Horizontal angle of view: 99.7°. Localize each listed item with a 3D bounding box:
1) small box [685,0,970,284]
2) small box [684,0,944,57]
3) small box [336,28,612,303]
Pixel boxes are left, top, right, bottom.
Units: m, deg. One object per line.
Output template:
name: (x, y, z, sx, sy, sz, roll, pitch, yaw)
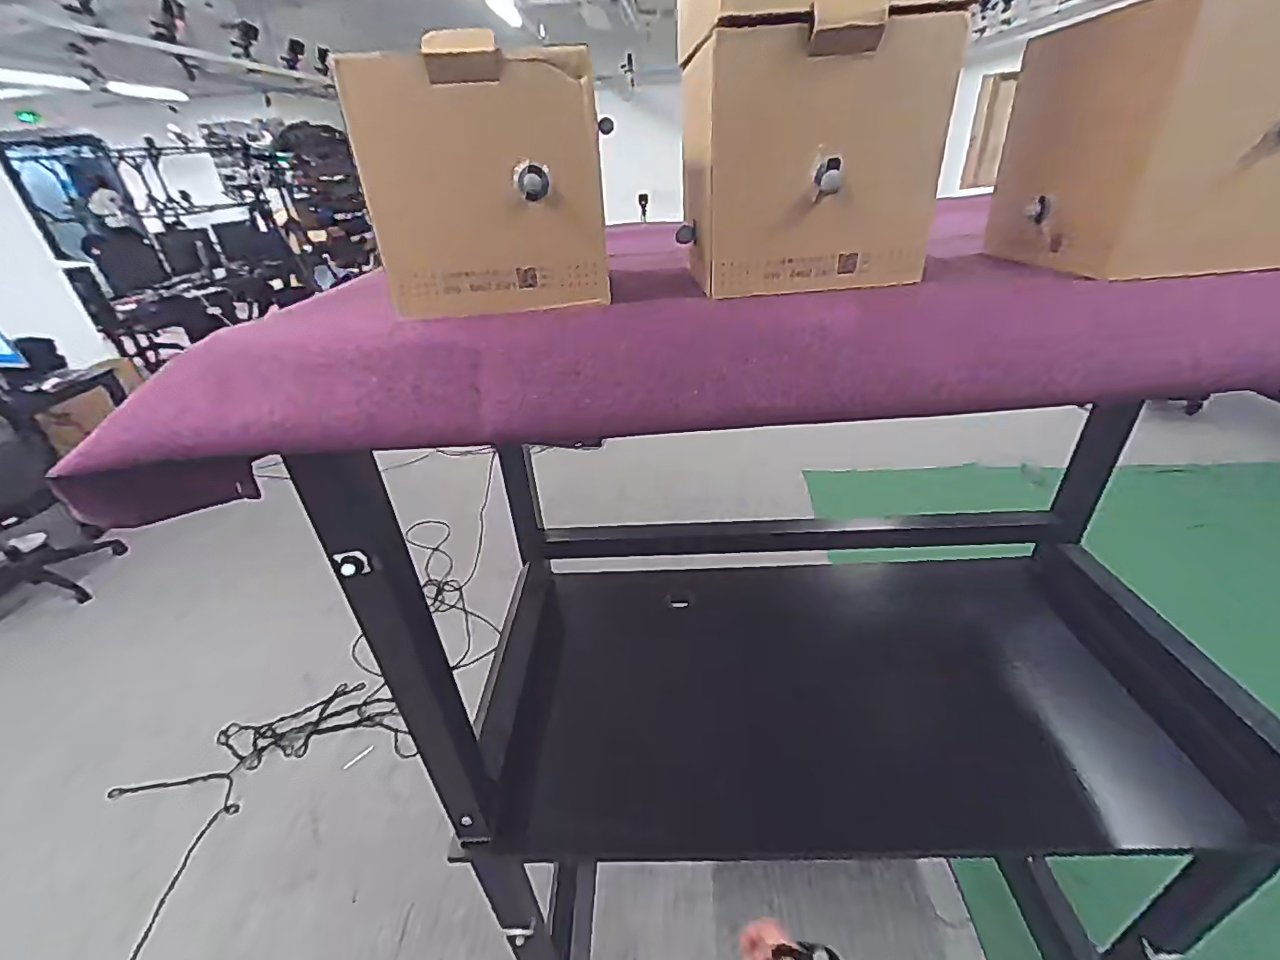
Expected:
small box: (0.129, -0.263, 0.448, 0.168, 0.176, 0.179, -4, 31, 0)
small box: (0.120, -0.401, 0.362, 0.168, 0.176, 0.179, -5, 29, -2)
small box: (-0.111, -0.248, 0.451, 0.168, 0.176, 0.179, -4, 30, -2)
